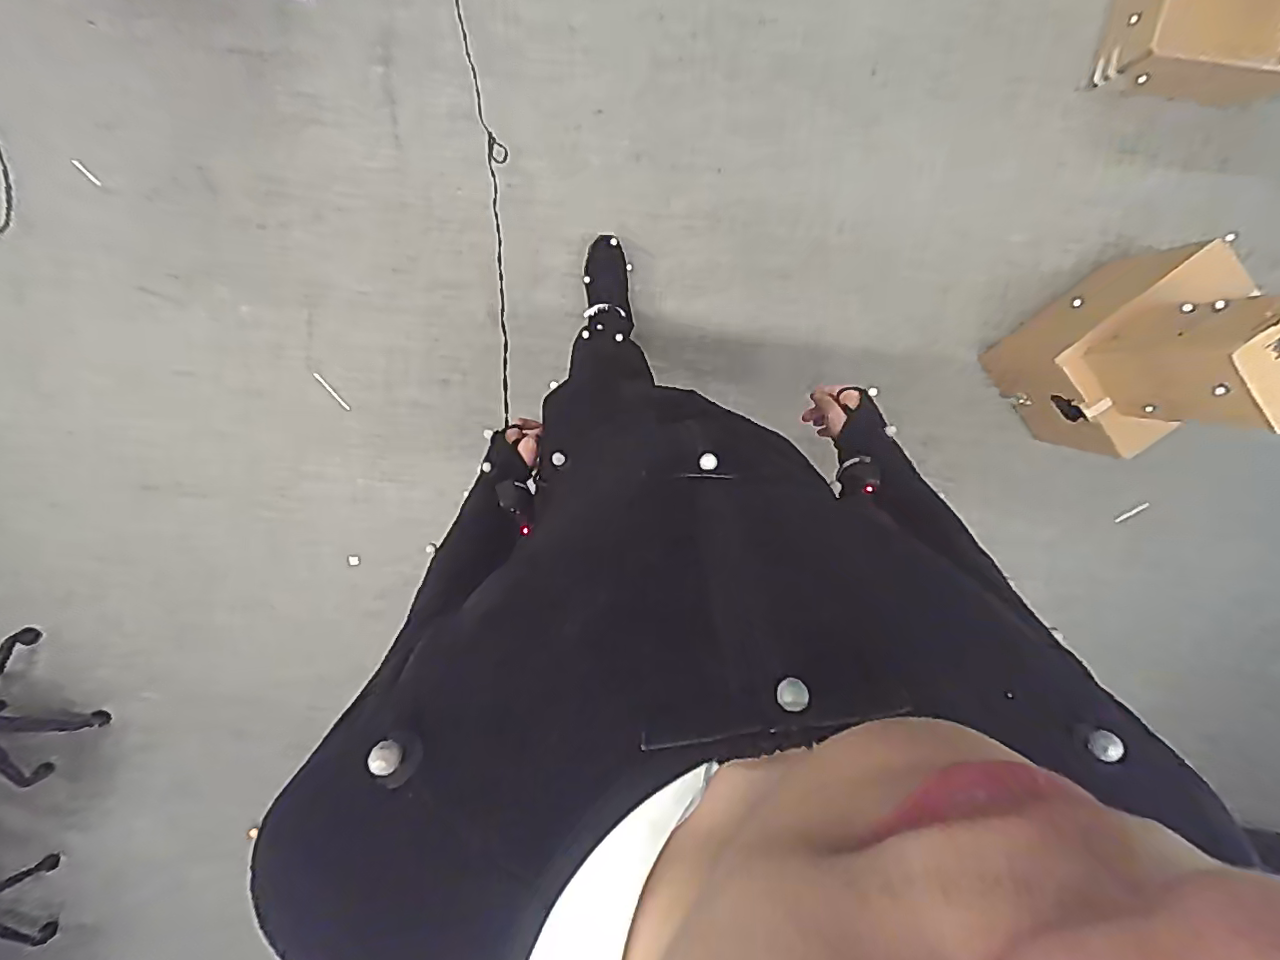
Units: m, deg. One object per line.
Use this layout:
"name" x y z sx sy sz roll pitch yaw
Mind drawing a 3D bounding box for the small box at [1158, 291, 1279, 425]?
"small box" 1.090 -0.215 0.952 0.168 0.176 0.179 -39 98 10

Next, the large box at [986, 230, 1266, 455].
"large box" 1.193 -0.322 1.343 0.408 0.320 0.320 -40 98 10
